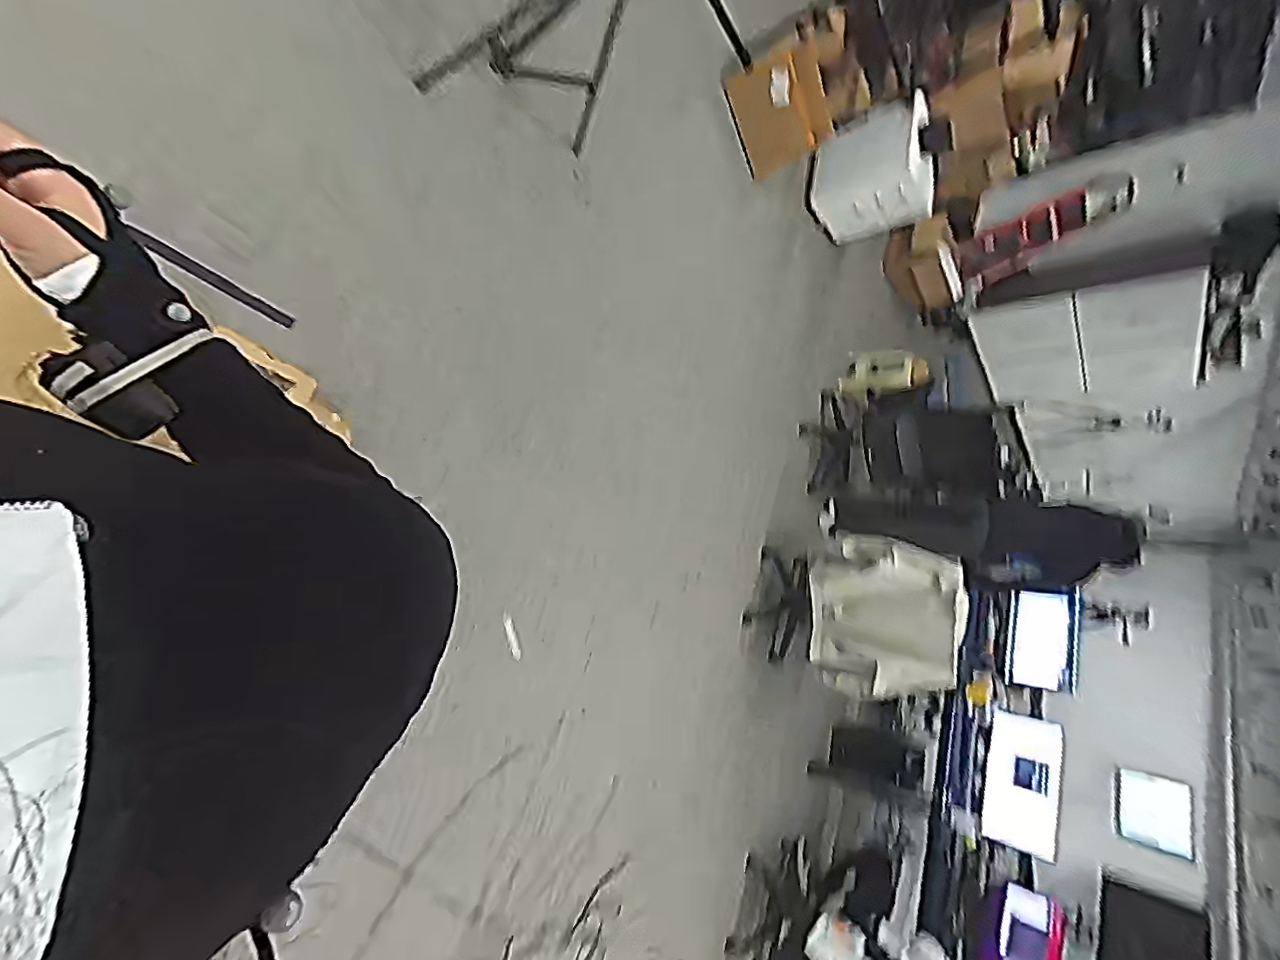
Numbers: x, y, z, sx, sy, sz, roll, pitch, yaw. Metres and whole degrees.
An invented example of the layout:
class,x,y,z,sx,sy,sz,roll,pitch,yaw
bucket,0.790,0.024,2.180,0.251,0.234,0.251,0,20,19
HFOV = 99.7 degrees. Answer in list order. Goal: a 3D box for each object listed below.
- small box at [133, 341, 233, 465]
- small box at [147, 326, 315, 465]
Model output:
class,x,y,z,sx,sy,sz,roll,pitch,yaw
small box,-0.850,-0.142,1.060,0.168,0.176,0.179,34,66,-41
small box,-0.724,-0.139,0.955,0.168,0.176,0.179,38,63,-40
